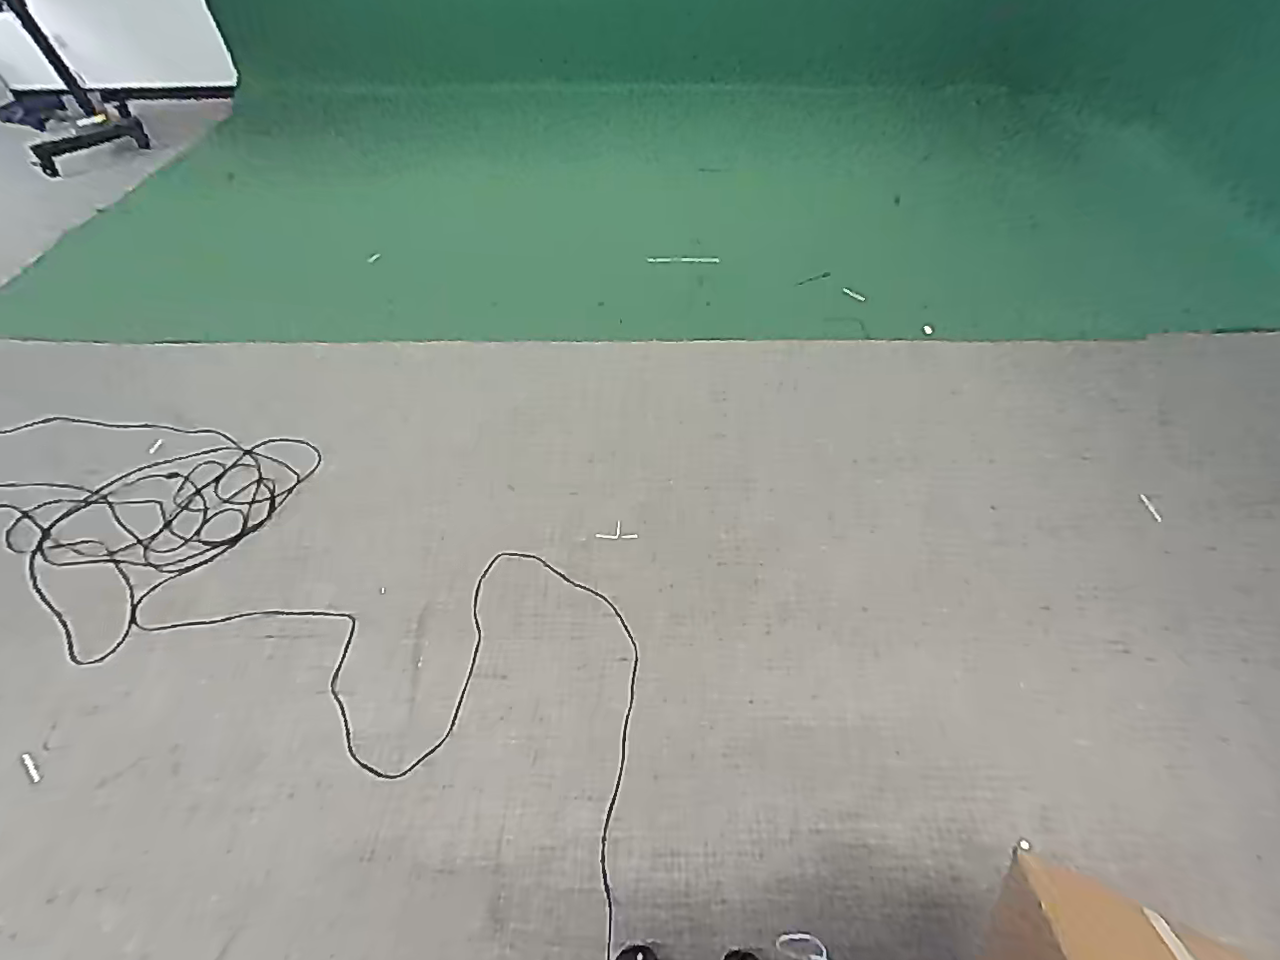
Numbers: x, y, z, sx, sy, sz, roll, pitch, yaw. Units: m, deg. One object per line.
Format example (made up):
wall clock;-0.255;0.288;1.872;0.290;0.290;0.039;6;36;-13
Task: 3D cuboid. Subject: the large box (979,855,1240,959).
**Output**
large box;0.568;0.724;0.566;0.320;0.408;0.320;19;92;23
